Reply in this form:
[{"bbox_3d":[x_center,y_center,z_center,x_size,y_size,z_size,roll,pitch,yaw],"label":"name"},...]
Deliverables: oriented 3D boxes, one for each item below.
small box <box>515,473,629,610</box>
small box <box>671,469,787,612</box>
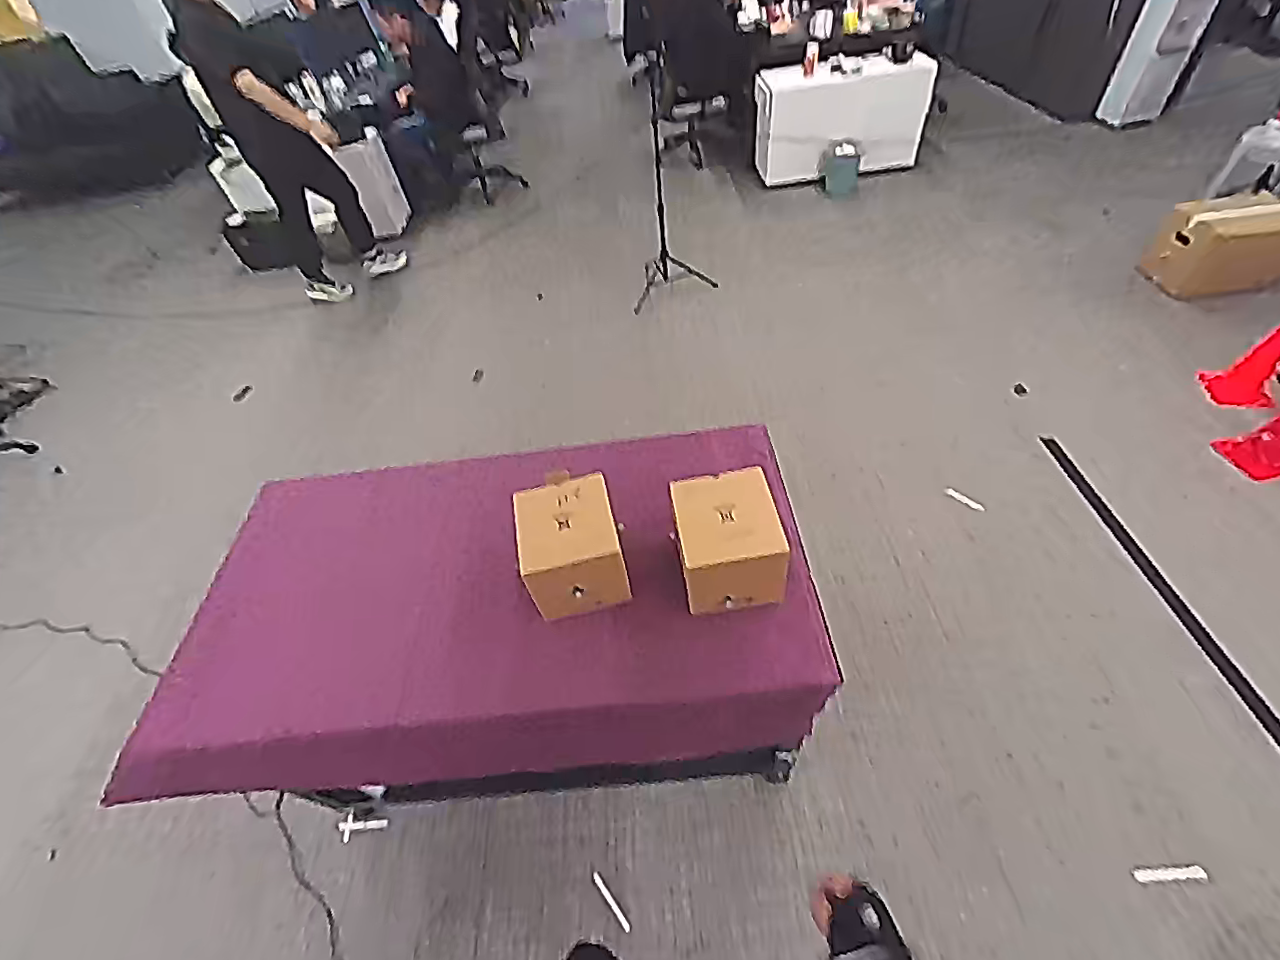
[{"bbox_3d":[-0.121,0.119,0.984,0.168,0.176,0.179,-13,49,-4],"label":"small box"},{"bbox_3d":[0.150,0.108,0.956,0.168,0.176,0.179,-9,48,1],"label":"small box"}]
